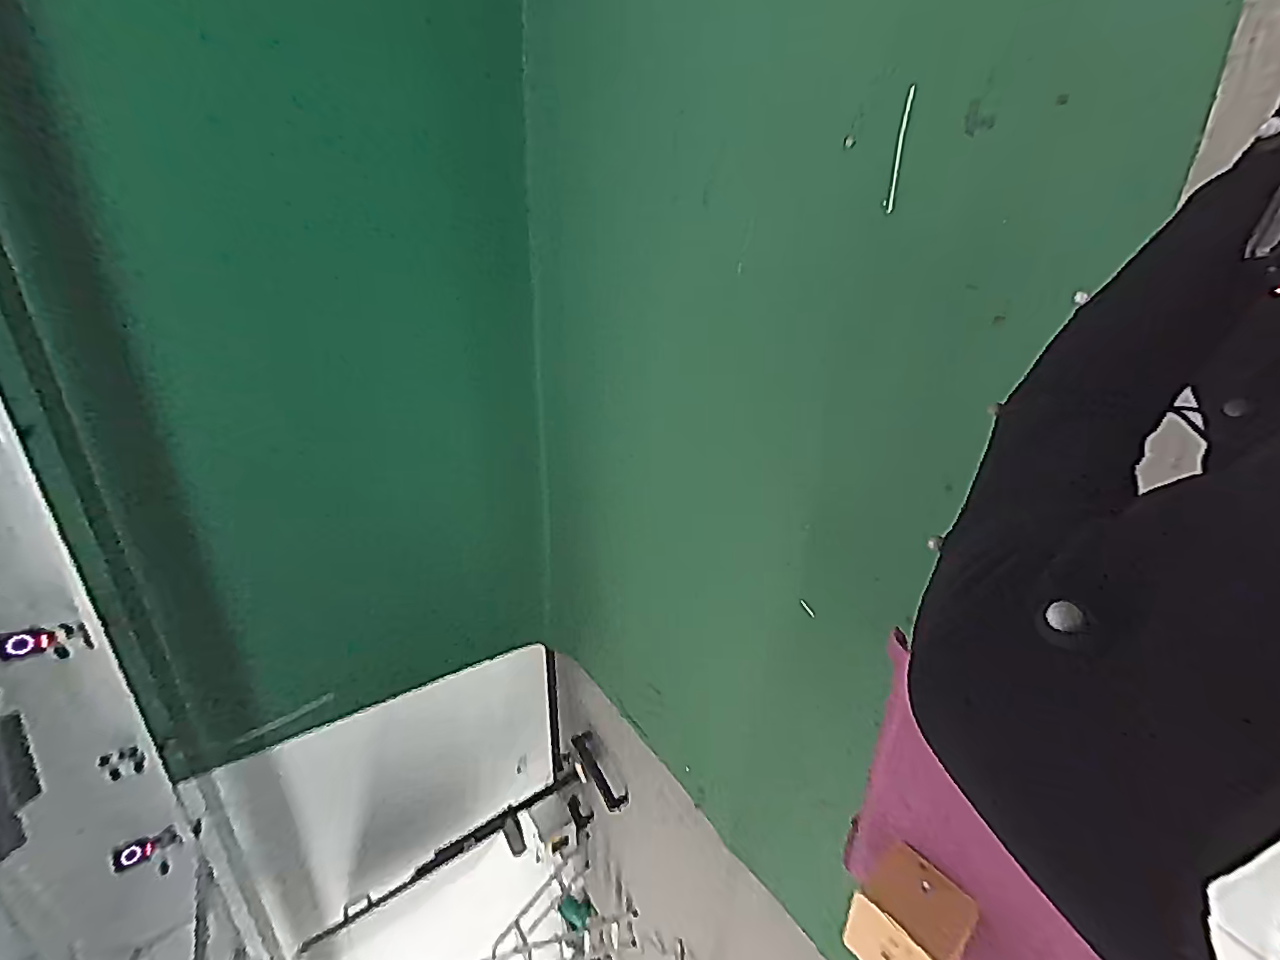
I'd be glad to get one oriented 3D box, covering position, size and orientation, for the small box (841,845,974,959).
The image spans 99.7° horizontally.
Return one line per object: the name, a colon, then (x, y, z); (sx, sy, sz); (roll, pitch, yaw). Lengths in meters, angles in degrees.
small box: (0.530, 0.888, 1.073); (0.168, 0.176, 0.179); (25, 122, 45)
